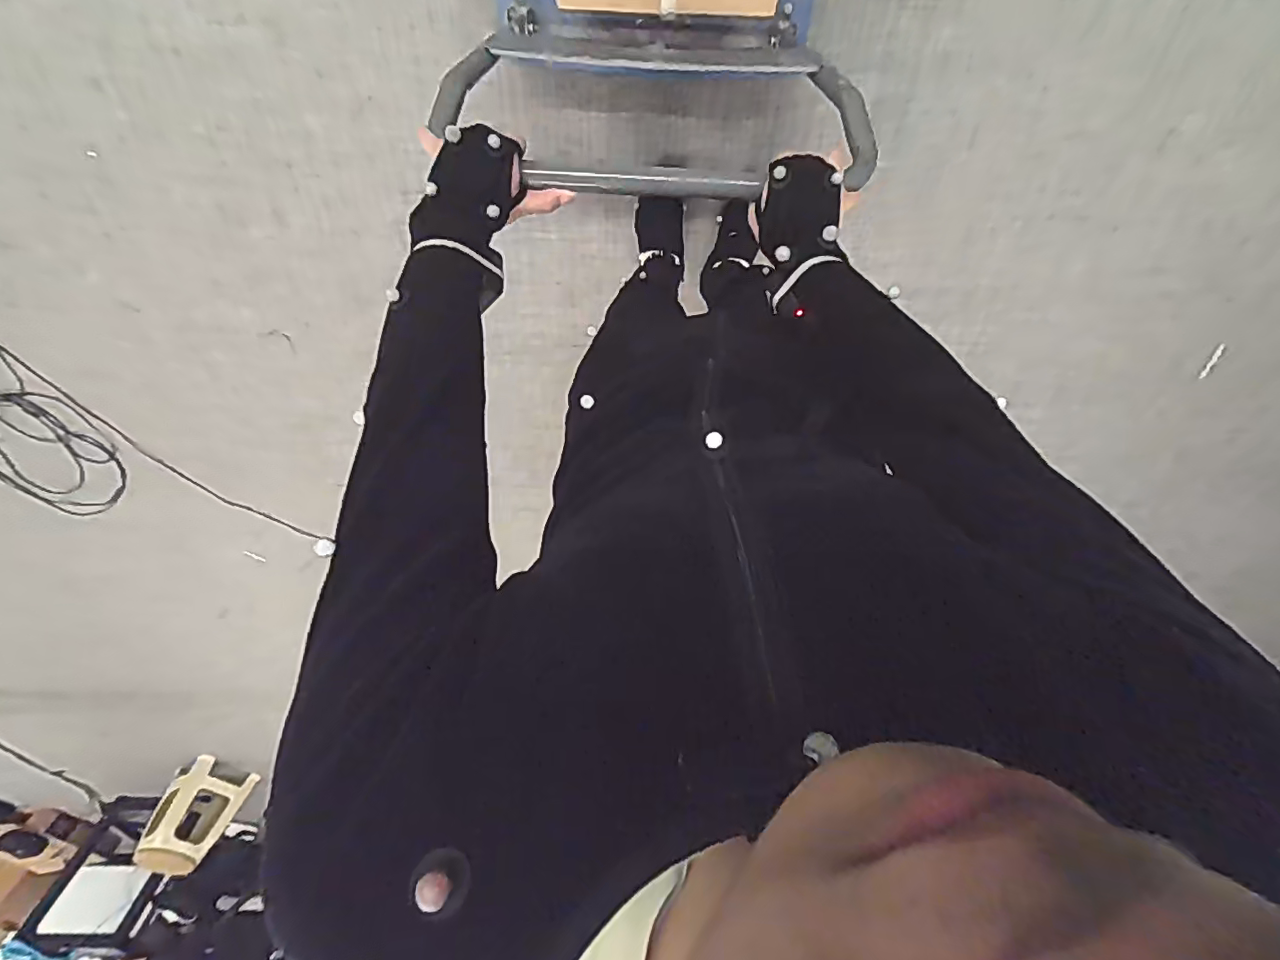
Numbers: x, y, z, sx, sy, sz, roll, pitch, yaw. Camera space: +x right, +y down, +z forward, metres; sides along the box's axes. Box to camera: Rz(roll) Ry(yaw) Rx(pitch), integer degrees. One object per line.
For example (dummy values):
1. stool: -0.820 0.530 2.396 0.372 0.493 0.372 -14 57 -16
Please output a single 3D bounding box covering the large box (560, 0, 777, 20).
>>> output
1. large box: 0.048 -0.909 0.751 0.320 0.320 0.408 2 132 -1
